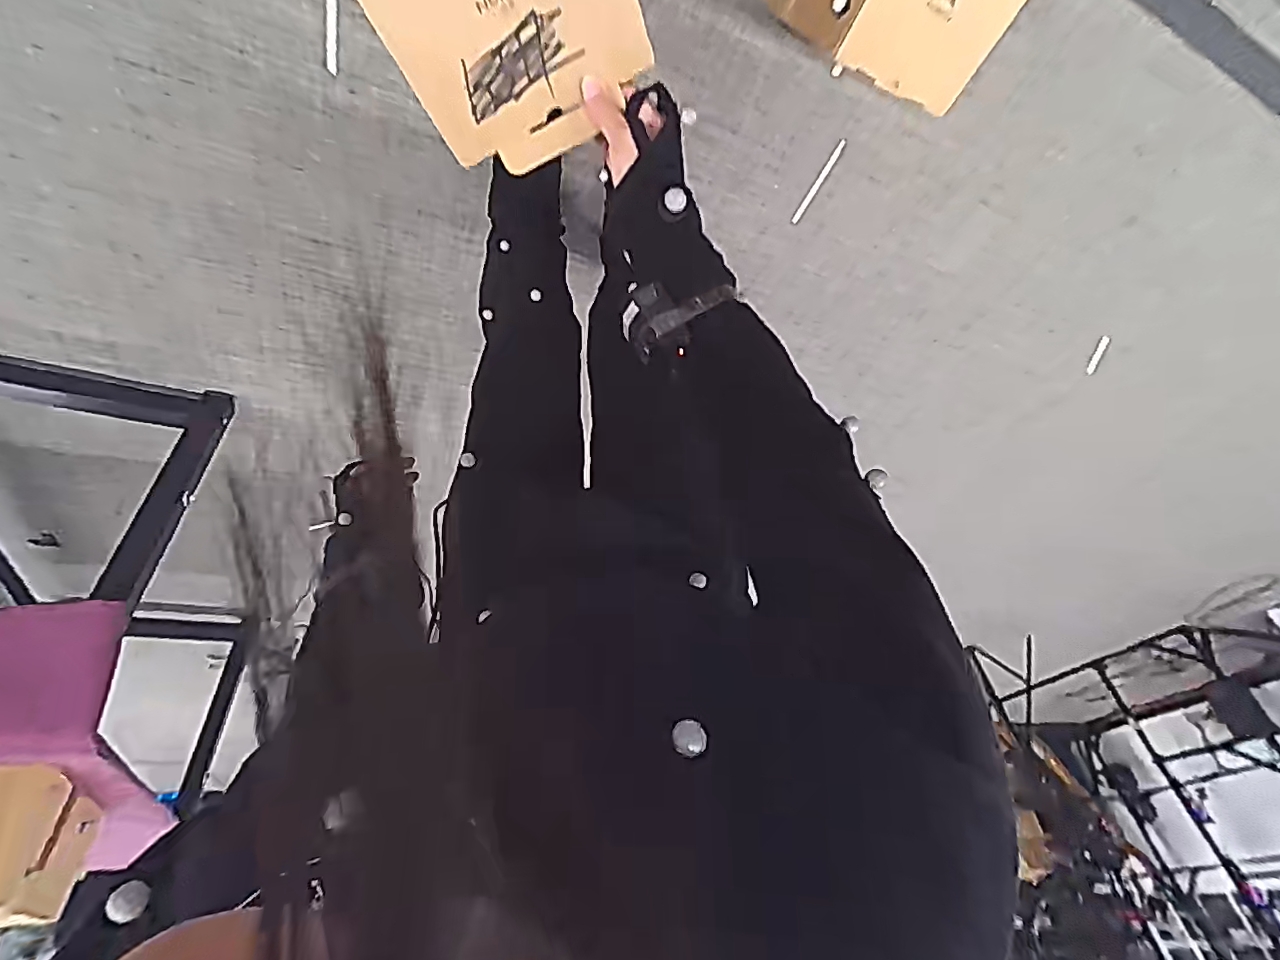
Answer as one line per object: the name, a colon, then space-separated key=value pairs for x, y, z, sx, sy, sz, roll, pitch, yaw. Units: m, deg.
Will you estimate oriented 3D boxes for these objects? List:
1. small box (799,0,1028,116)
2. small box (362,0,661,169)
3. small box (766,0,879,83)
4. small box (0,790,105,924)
small box: x=0.304 y=-0.554 z=0.594 sx=0.168 sy=0.176 sz=0.179 roll=9 pitch=139 yaw=-23
small box: x=-0.101 y=-0.370 z=0.380 sx=0.168 sy=0.176 sz=0.179 roll=-22 pitch=140 yaw=10
small box: x=0.278 y=-0.672 z=0.703 sx=0.179 sy=0.176 sz=0.168 roll=12 pitch=137 yaw=-26
small box: x=-1.049 y=0.625 z=0.897 sx=0.168 sy=0.176 sz=0.179 roll=11 pitch=137 yaw=-23
